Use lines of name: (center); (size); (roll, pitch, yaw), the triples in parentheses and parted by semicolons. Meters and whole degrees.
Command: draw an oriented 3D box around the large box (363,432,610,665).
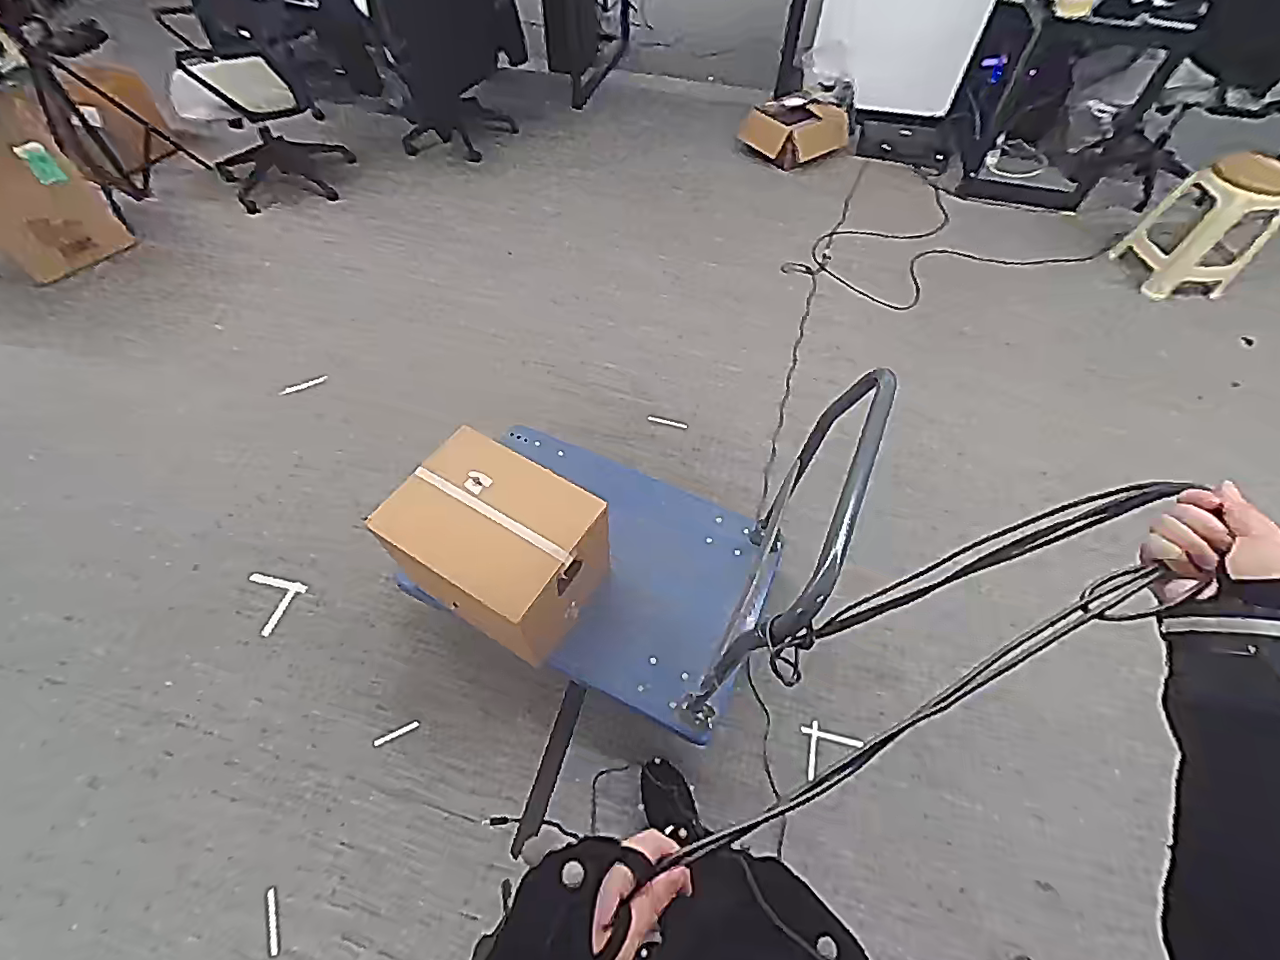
large box: (-0.318, 0.160, 1.241); (0.408, 0.320, 0.320); (27, 59, 16)
